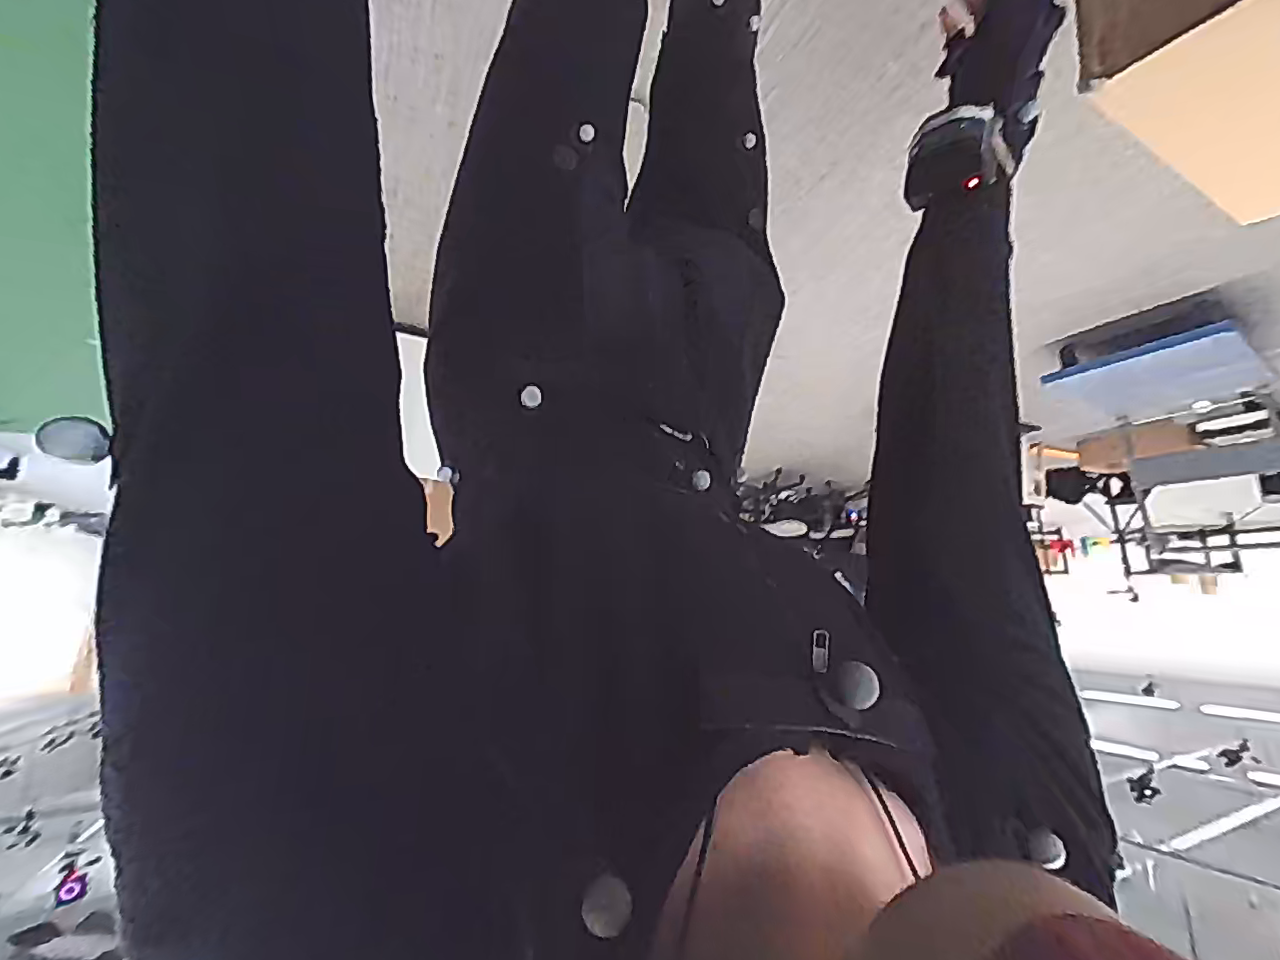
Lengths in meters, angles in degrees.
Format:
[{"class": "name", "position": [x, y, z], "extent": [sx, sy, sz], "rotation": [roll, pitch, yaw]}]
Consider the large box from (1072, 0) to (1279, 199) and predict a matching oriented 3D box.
[{"class": "large box", "position": [0.641, -0.521, 0.456], "extent": [0.408, 0.320, 0.320], "rotation": [6, 171, -27]}]
